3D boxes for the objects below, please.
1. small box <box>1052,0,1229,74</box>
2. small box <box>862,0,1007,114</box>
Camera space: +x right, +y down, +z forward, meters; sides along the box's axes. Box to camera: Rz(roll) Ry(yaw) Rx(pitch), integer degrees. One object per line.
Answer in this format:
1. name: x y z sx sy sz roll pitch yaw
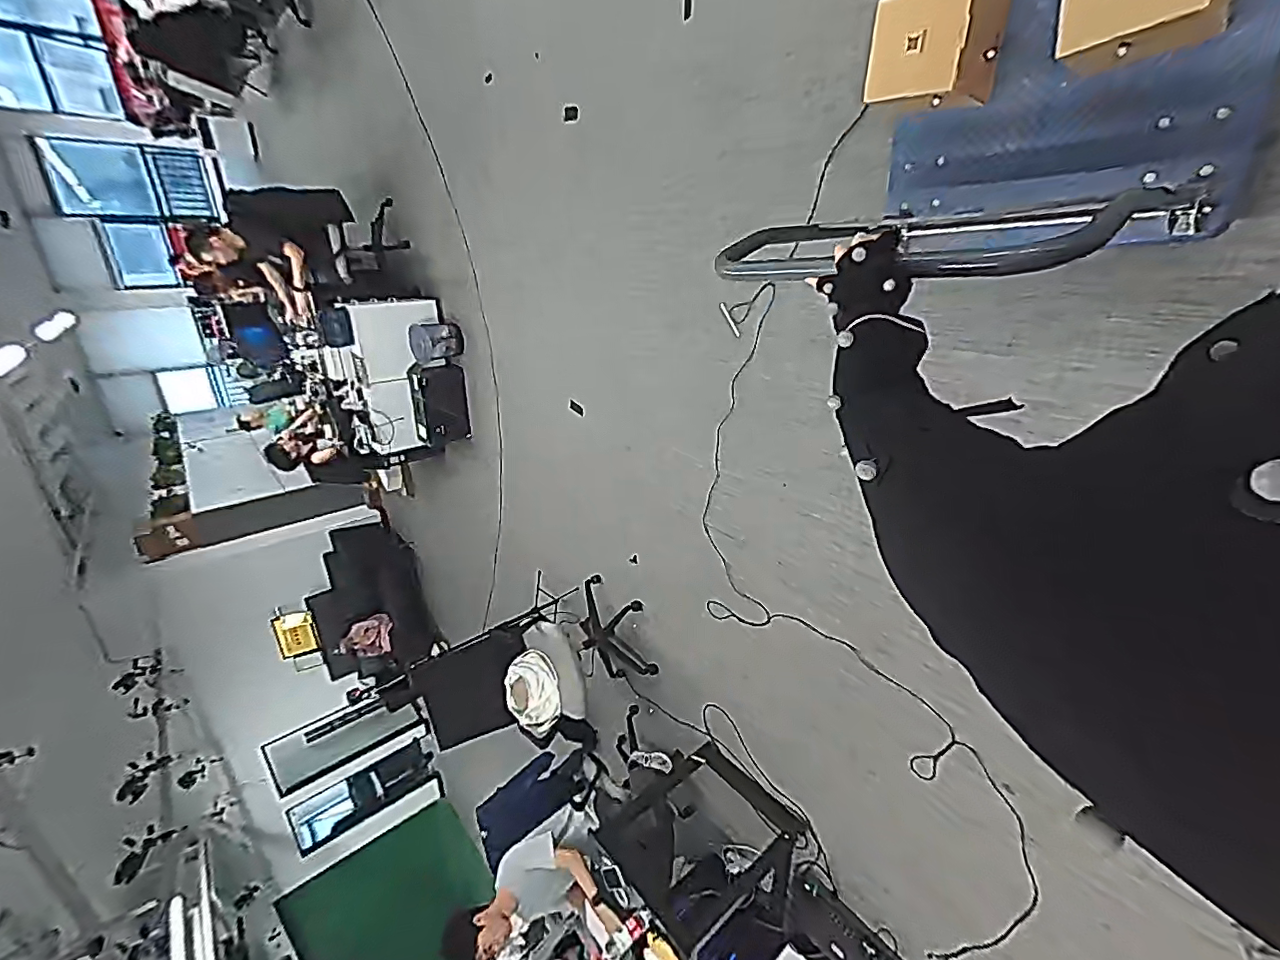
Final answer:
1. small box: 0.761 -0.746 0.814 0.179 0.176 0.168 15 117 48
2. small box: 0.561 -0.819 1.036 0.179 0.176 0.168 25 124 42
